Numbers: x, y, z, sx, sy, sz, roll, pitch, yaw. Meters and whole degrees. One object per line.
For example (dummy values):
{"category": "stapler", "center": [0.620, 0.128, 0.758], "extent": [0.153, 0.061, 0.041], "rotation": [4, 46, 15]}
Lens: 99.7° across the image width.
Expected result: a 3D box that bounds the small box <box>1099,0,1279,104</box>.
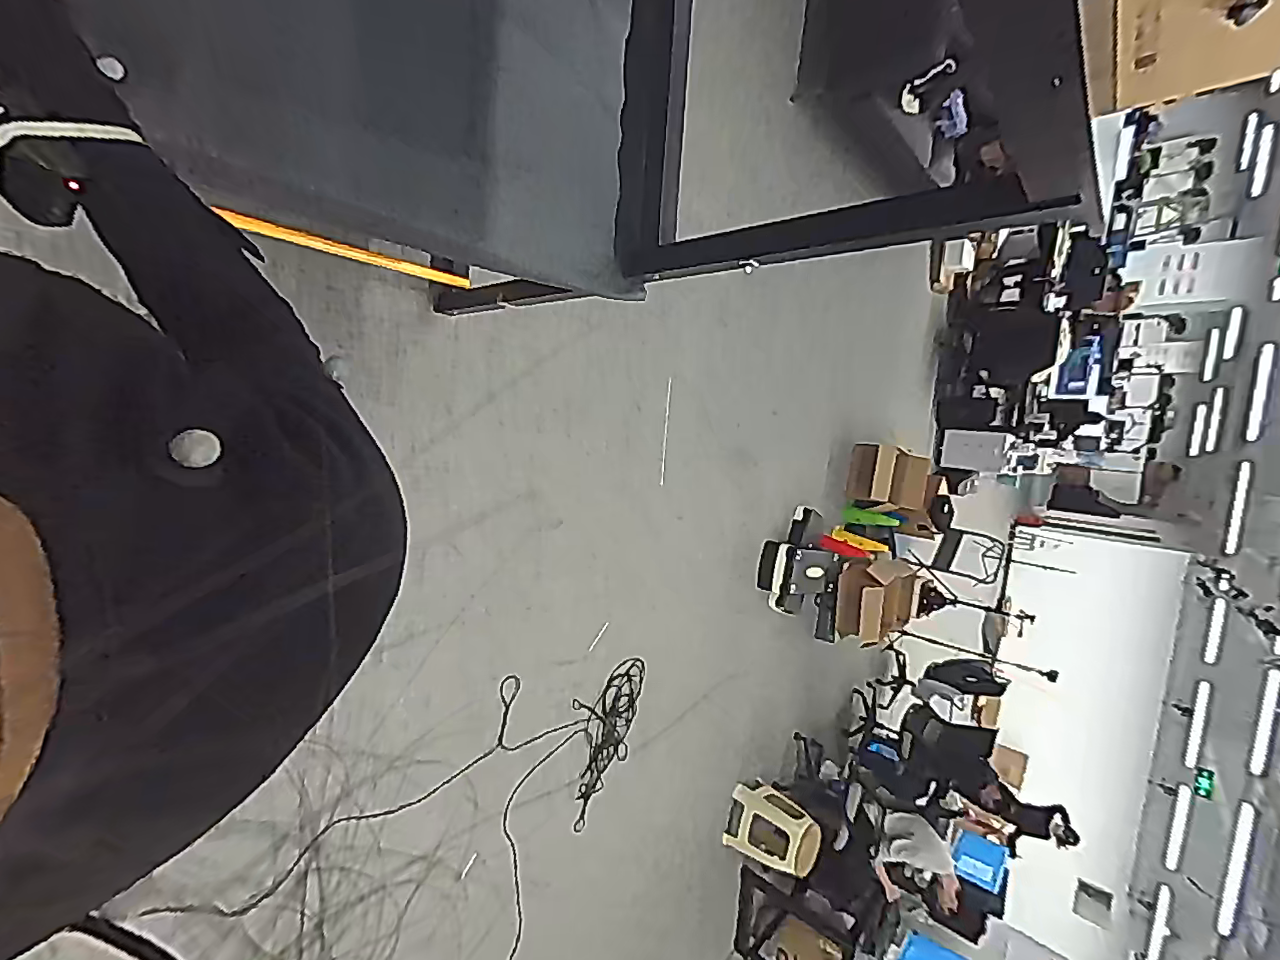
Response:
{"category": "small box", "center": [0.492, -0.455, 0.437], "extent": [0.168, 0.176, 0.179], "rotation": [15, 86, -49]}
